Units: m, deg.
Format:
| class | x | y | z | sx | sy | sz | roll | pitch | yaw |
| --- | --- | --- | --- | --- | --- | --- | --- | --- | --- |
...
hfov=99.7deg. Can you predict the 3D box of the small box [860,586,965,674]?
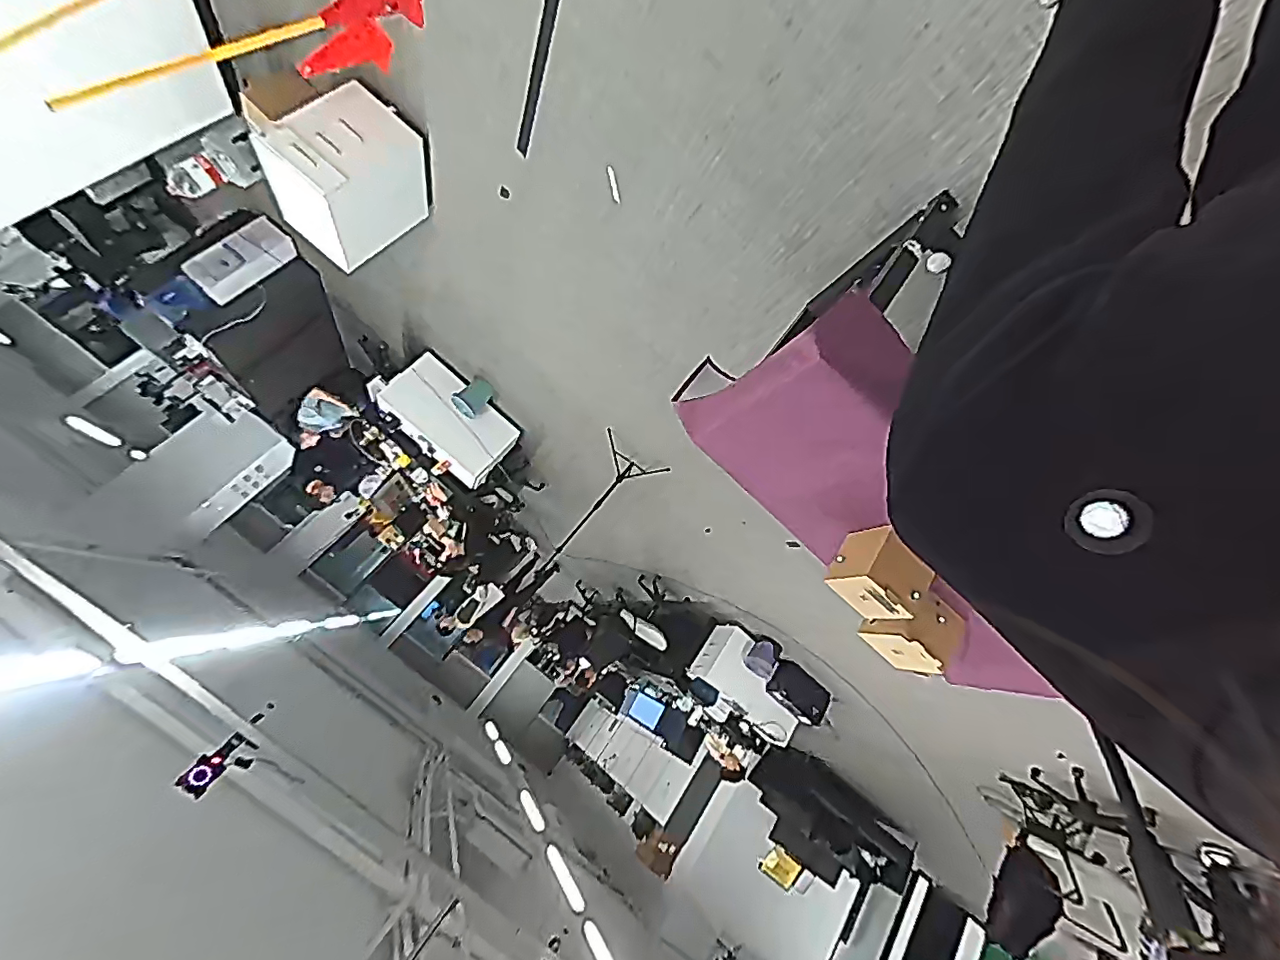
| class | x | y | z | sx | sy | sz | roll | pitch | yaw |
| --- | --- | --- | --- | --- | --- | --- | --- | --- | --- |
| small box | 0.766 | 0.415 | 1.518 | 0.168 | 0.176 | 0.179 | 41 | 156 | -6 |
